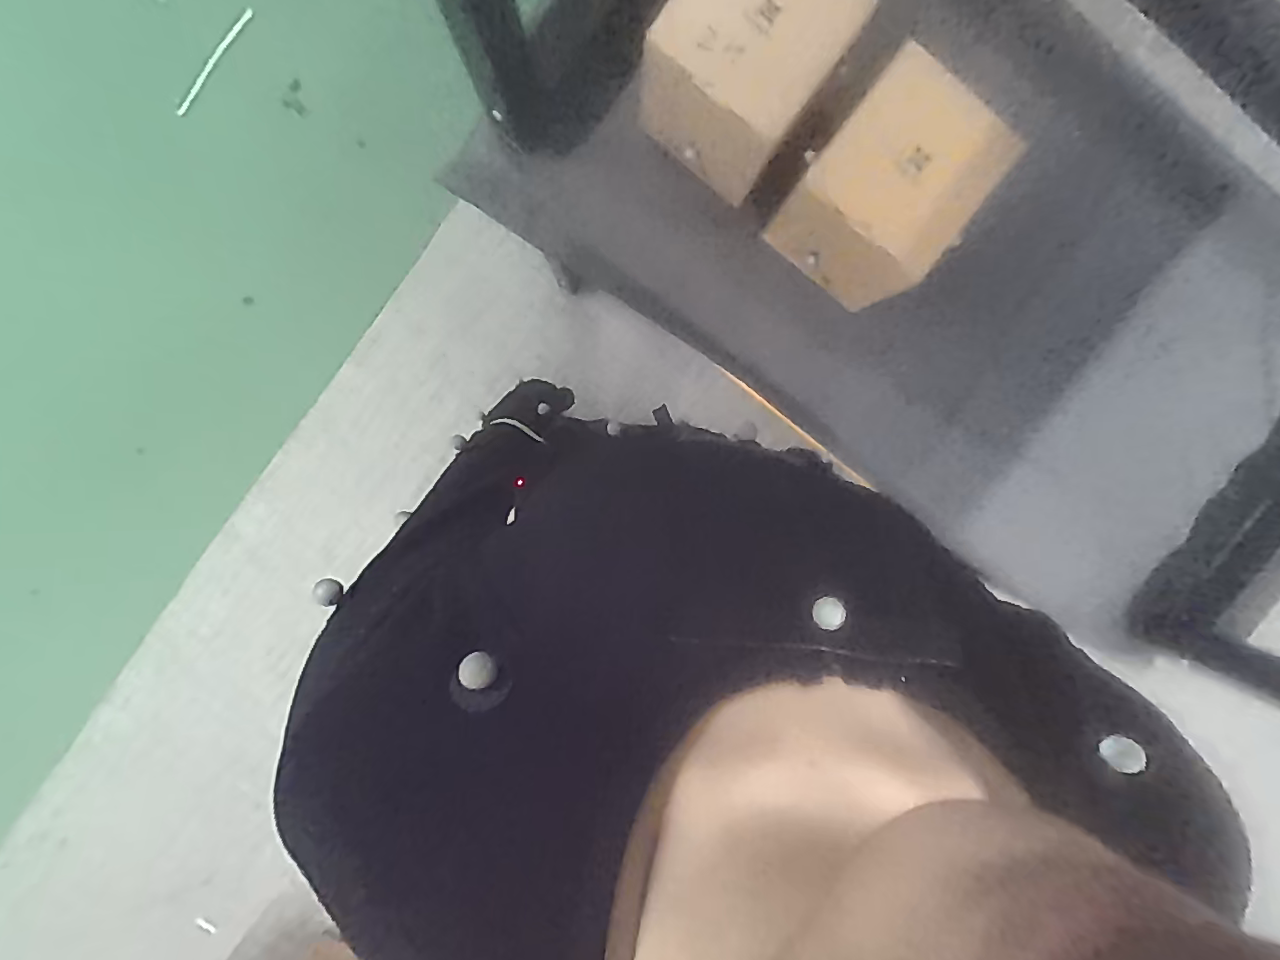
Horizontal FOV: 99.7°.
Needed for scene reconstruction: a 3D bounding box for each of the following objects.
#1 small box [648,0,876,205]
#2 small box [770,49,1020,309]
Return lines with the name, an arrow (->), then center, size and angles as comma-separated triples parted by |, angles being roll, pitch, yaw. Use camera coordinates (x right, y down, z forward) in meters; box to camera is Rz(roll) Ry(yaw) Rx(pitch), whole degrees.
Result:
small box -> 0.120, -0.463, 0.619 | 0.168, 0.176, 0.179 | 37, 94, -6
small box -> 0.281, -0.334, 0.642 | 0.168, 0.176, 0.179 | 37, 94, -6
